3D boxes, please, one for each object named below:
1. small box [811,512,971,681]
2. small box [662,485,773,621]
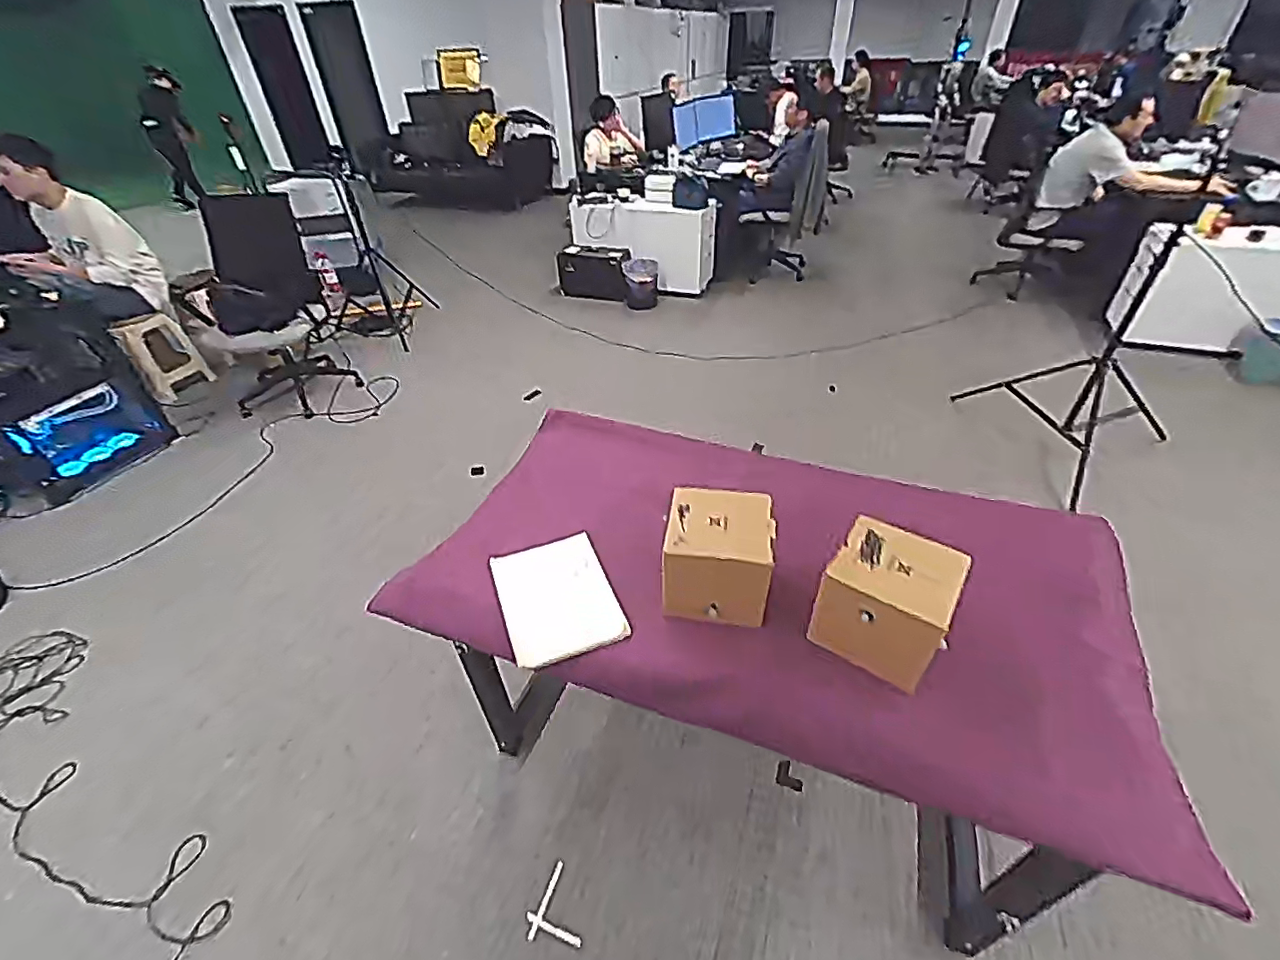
[{"bbox_3d":[0.396,0.187,0.874,0.179,0.176,0.168,24,45,29],"label":"small box"},{"bbox_3d":[0.137,0.131,0.963,0.179,0.176,0.168,5,39,9],"label":"small box"}]
